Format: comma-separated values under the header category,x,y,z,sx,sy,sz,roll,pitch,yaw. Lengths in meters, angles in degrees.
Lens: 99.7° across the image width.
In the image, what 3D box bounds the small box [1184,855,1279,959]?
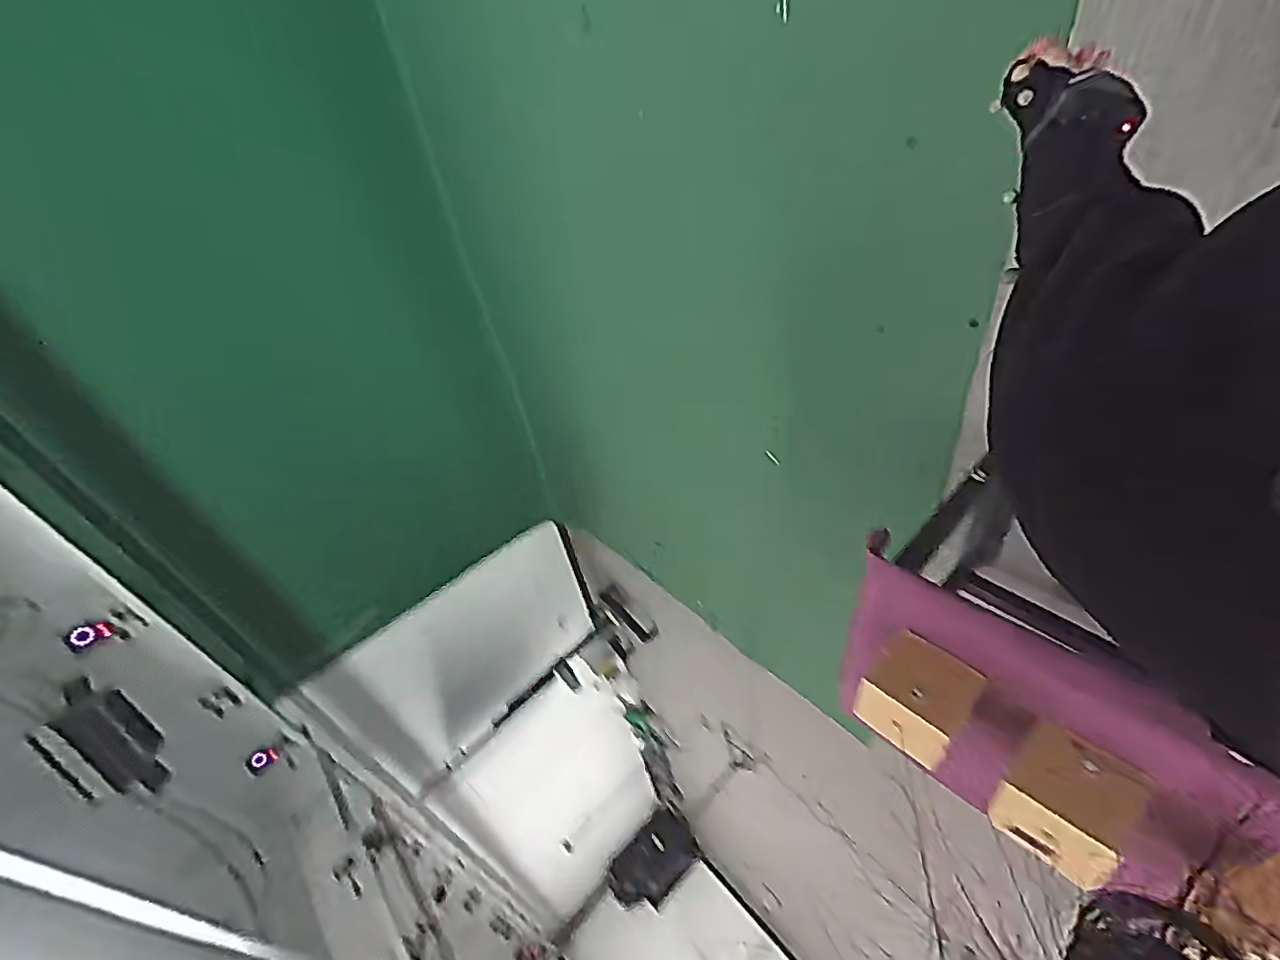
category,x,y,z,sx,sy,sz,roll,pitch,yaw
small box,0.969,0.686,0.789,0.168,0.176,0.179,38,150,28

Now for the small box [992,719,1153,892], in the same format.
category,x,y,z,sx,sy,sz,roll,pitch,yaw
small box,0.775,0.578,0.974,0.168,0.176,0.179,27,142,42

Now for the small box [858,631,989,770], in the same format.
category,x,y,z,sx,sy,sz,roll,pitch,yaw
small box,0.588,0.453,1.129,0.179,0.176,0.168,32,147,37
